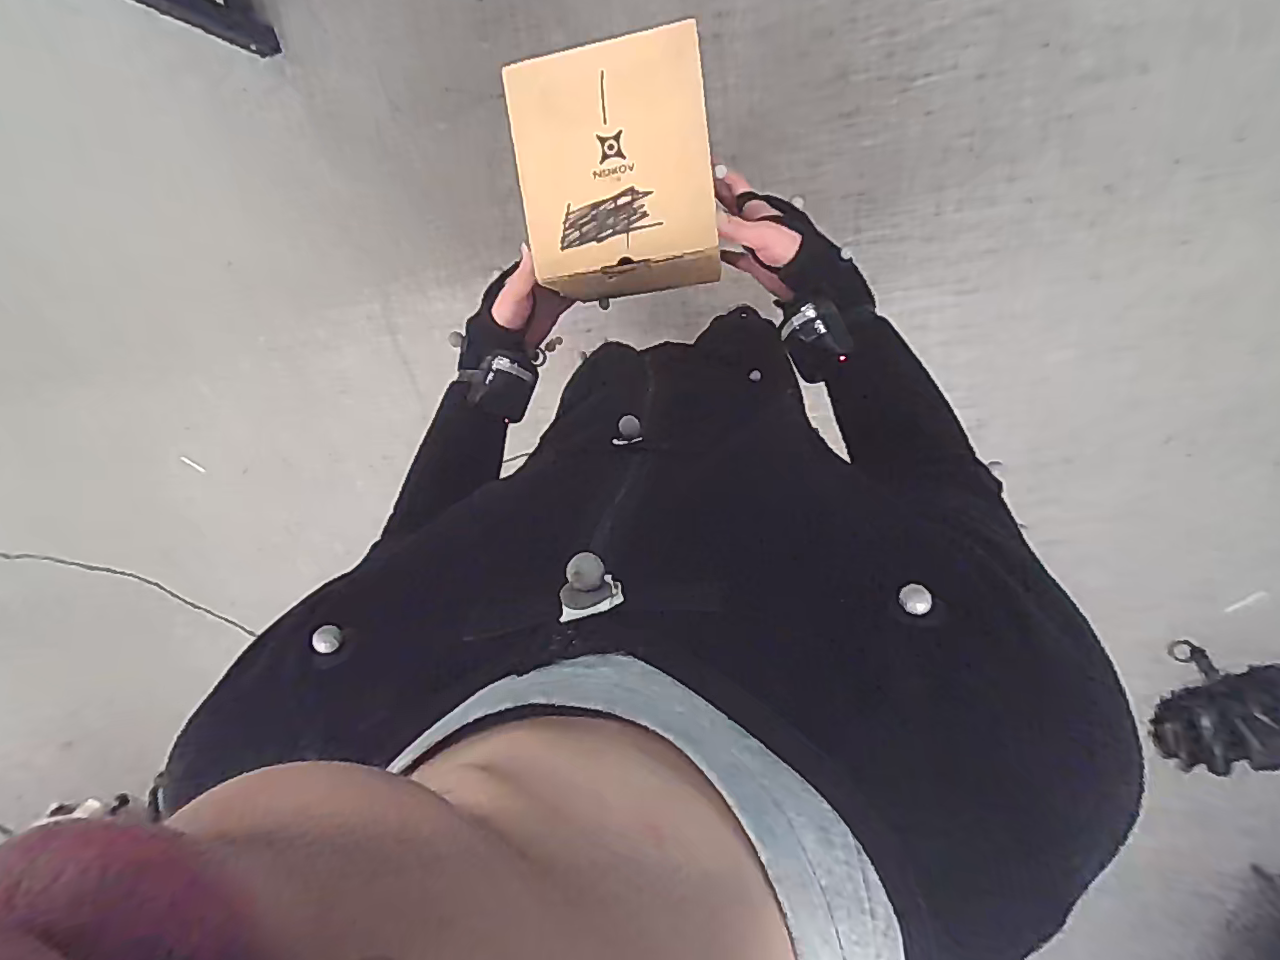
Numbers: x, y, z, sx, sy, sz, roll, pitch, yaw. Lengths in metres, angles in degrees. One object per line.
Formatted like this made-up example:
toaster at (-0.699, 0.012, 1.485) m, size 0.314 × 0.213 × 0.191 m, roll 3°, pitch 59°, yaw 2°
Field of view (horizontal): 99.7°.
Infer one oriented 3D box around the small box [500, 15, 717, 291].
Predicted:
small box at (-0.014, -0.289, 0.528) m, size 0.168 × 0.176 × 0.179 m, roll -6°, pitch 101°, yaw 9°
